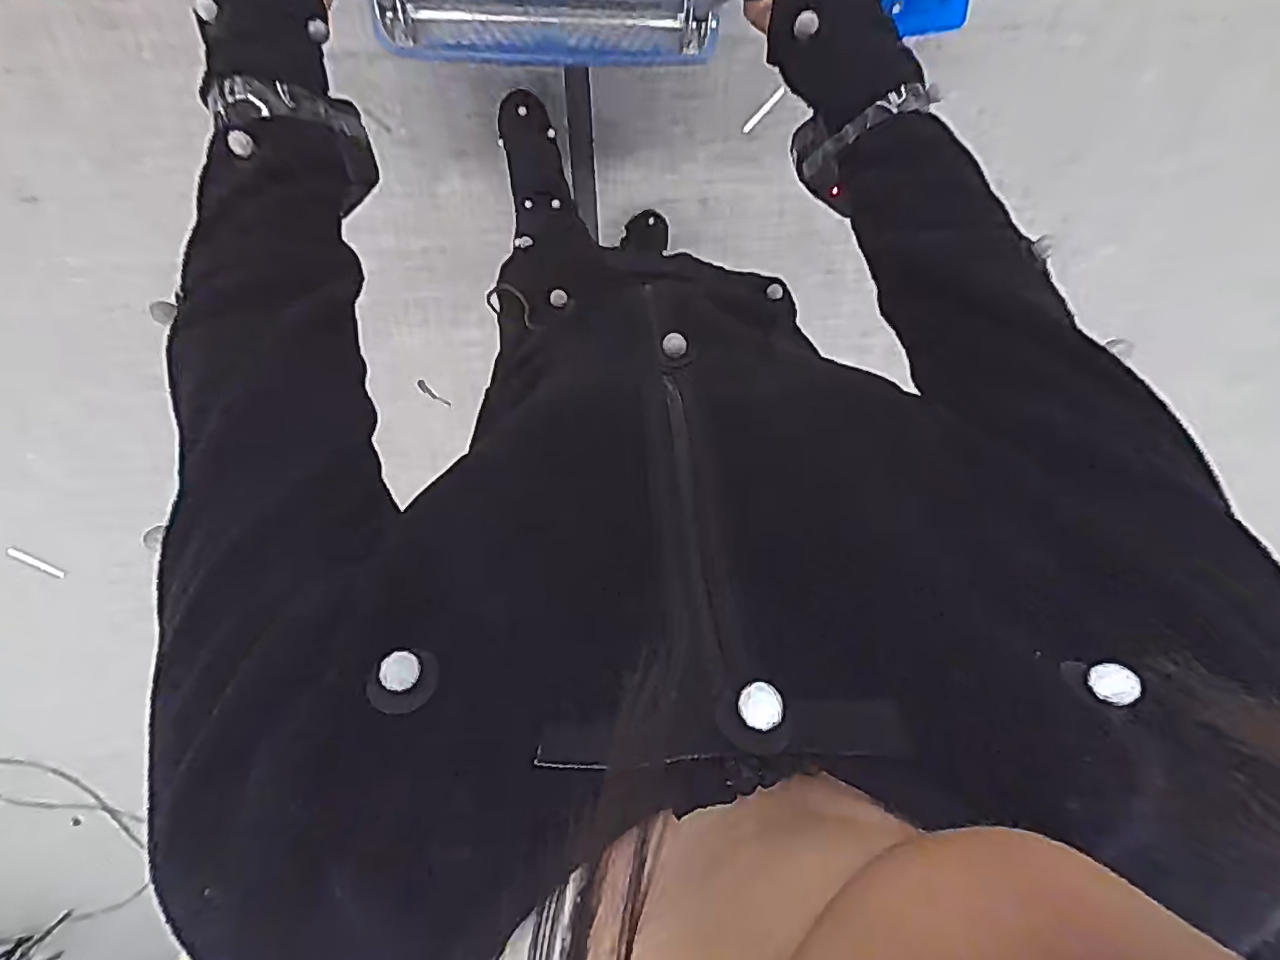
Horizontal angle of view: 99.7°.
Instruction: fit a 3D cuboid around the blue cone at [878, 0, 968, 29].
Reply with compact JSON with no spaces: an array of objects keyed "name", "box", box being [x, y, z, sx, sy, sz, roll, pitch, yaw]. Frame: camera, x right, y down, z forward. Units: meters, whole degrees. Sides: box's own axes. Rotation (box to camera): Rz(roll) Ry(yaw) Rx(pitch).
[{"name":"blue cone","box":[0.568,-0.908,0.893,0.193,0.380,0.192,-8,120,-2]}]
